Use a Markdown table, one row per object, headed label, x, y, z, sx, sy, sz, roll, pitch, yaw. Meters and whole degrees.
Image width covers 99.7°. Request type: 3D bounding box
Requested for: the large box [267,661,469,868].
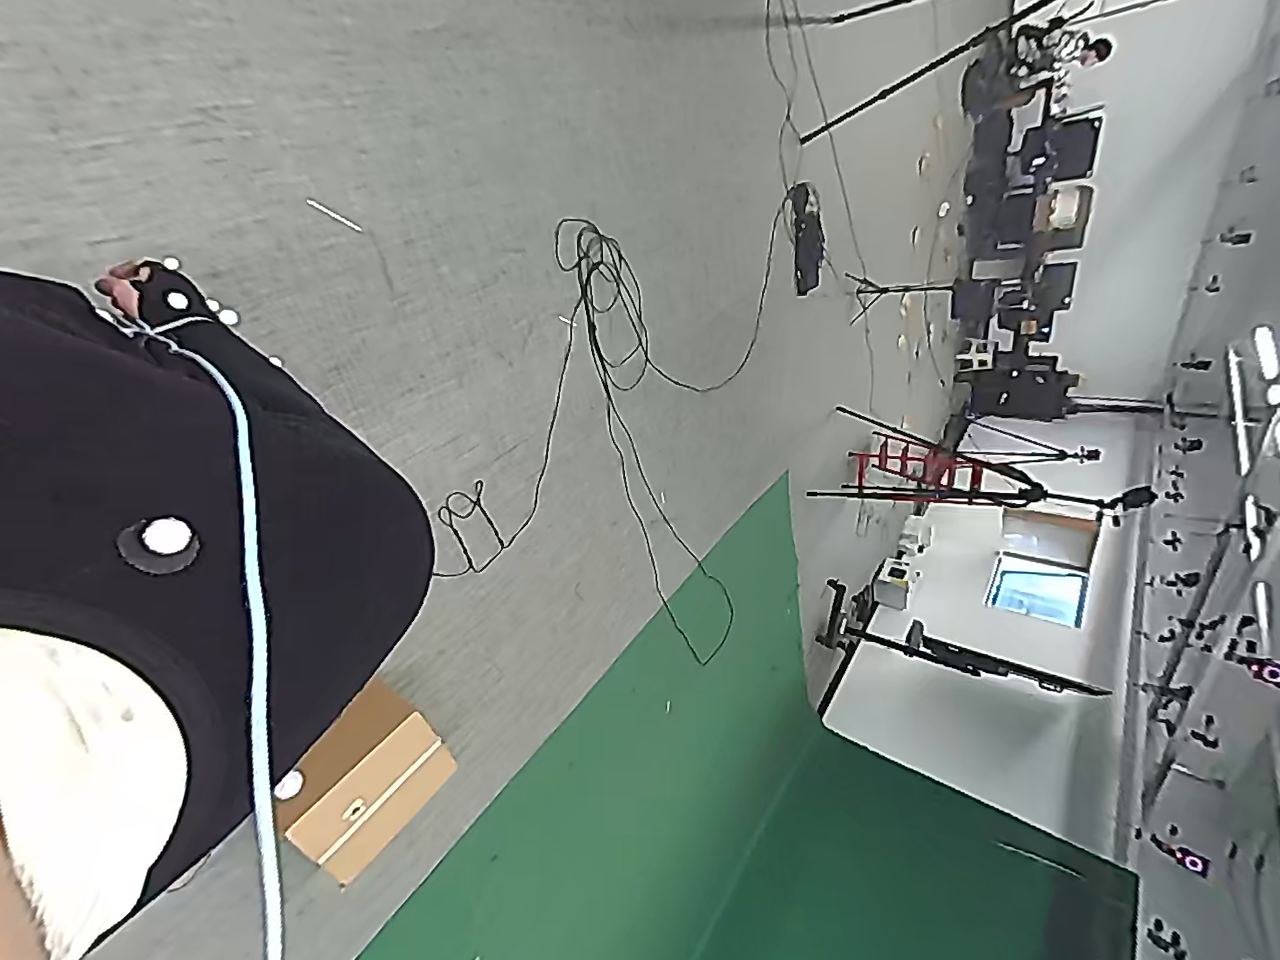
| label | x | y | z | sx | sy | sz | roll | pitch | yaw |
| --- | --- | --- | --- | --- | --- | --- | --- | --- | --- |
| large box | -0.823 | 0.851 | 1.668 | 0.408 | 0.320 | 0.320 | -42 | 129 | -35 |
